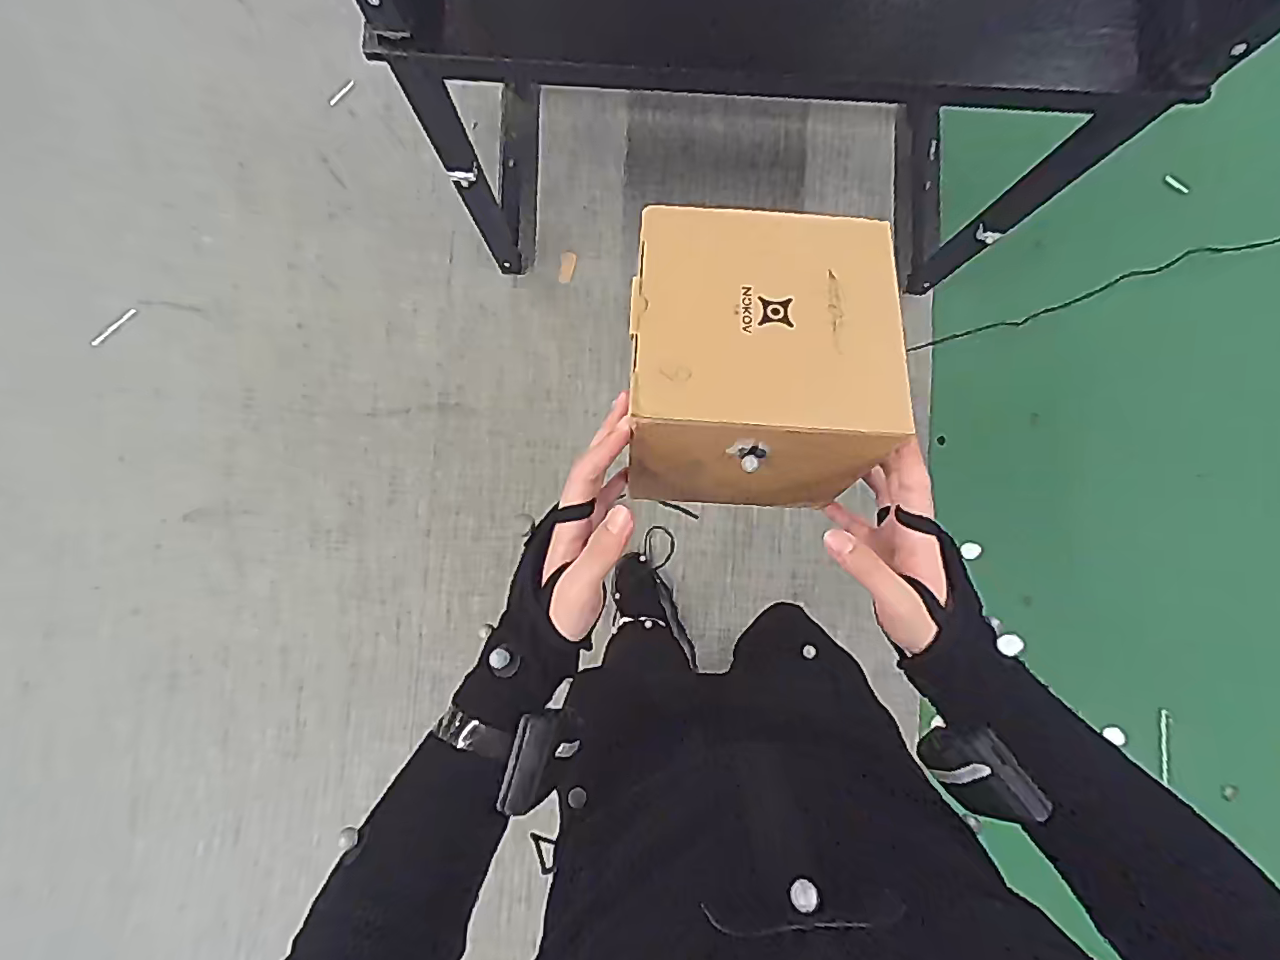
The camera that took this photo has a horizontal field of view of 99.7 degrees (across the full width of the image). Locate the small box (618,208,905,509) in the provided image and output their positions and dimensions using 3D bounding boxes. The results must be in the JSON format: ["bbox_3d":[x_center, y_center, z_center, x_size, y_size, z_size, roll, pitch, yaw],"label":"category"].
[{"bbox_3d":[0.077,-0.080,0.426,0.179,0.176,0.168,4,71,0],"label":"small box"}]
